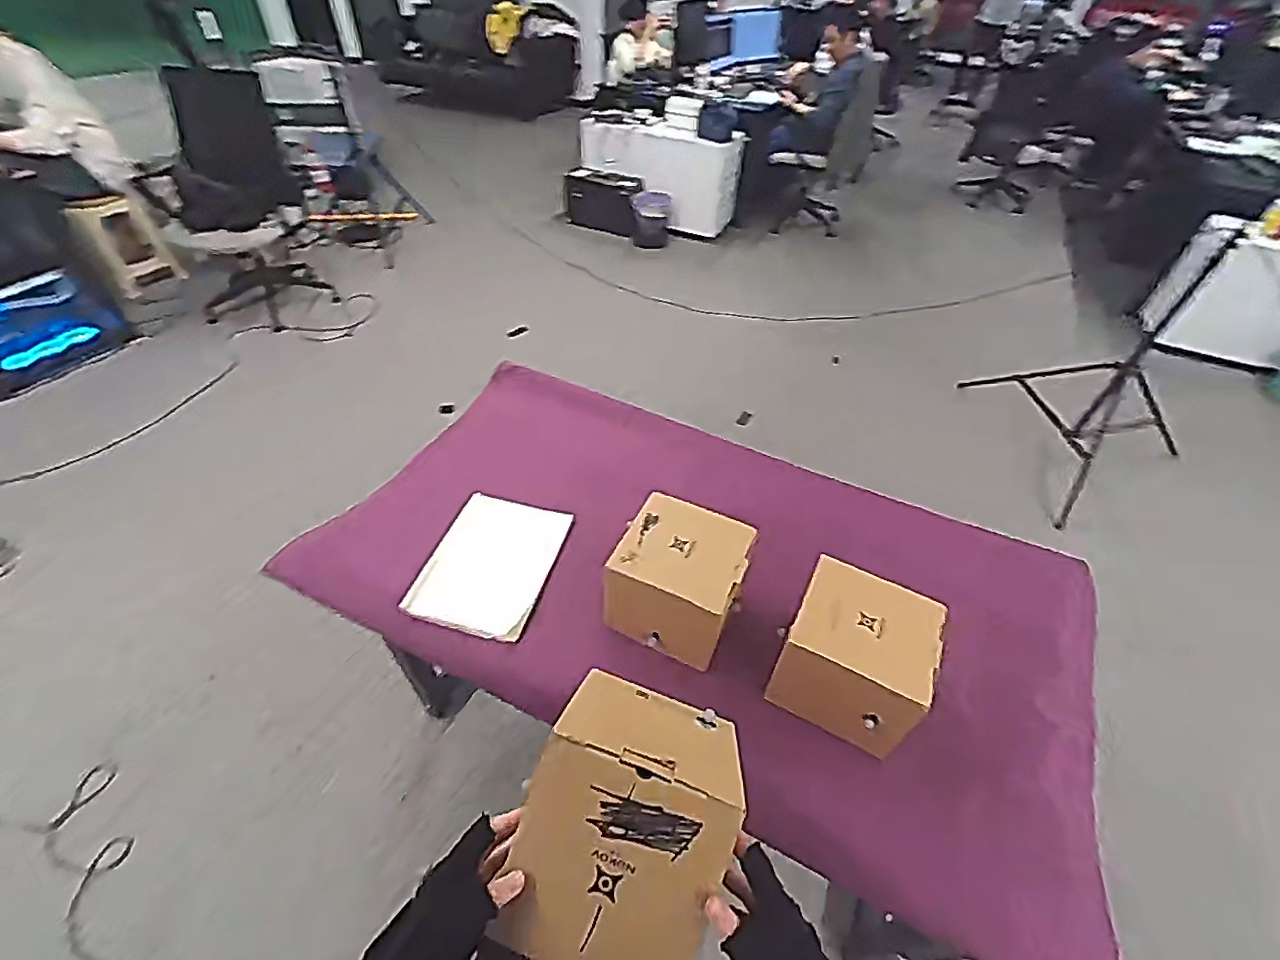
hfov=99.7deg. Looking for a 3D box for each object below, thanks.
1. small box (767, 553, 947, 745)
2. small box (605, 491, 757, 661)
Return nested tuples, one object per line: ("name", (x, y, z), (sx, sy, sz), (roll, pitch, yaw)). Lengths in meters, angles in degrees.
("small box", (0.298, 0.241, 0.761), (0.179, 0.176, 0.168), (21, 46, 20))
("small box", (0.059, 0.152, 0.835), (0.179, 0.176, 0.168), (20, 47, 16))
